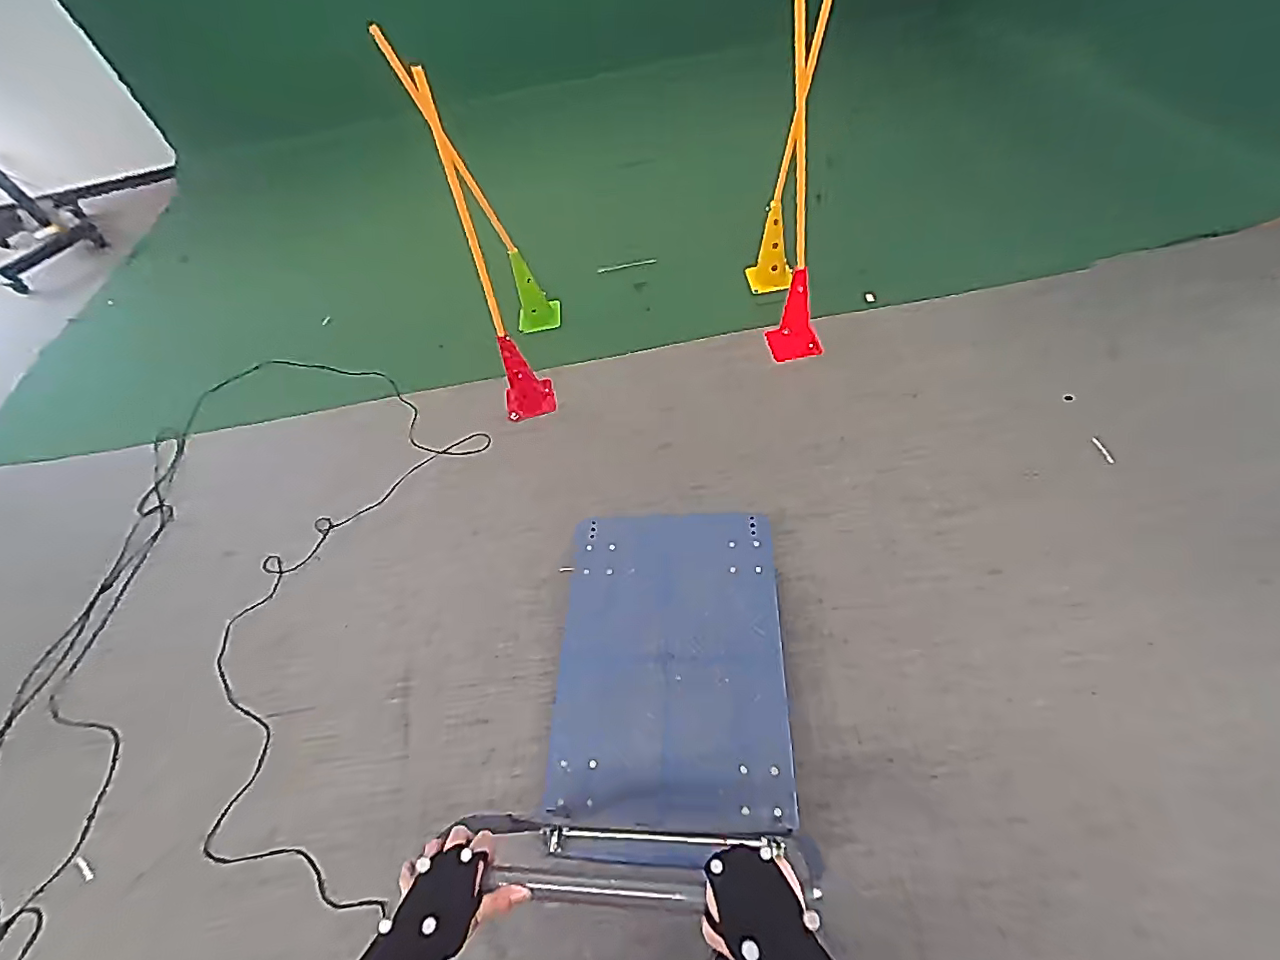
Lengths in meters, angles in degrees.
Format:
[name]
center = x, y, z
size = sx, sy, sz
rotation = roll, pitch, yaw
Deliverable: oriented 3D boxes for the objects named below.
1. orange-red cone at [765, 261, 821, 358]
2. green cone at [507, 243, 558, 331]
[orange-red cone]
center = 0.603, -0.676, 2.088
size = 0.198, 0.360, 0.199
rotation = -9, 52, 3
[green cone]
center = -0.515, -0.889, 2.437
size = 0.200, 0.368, 0.202
rotation = -10, 53, 4
